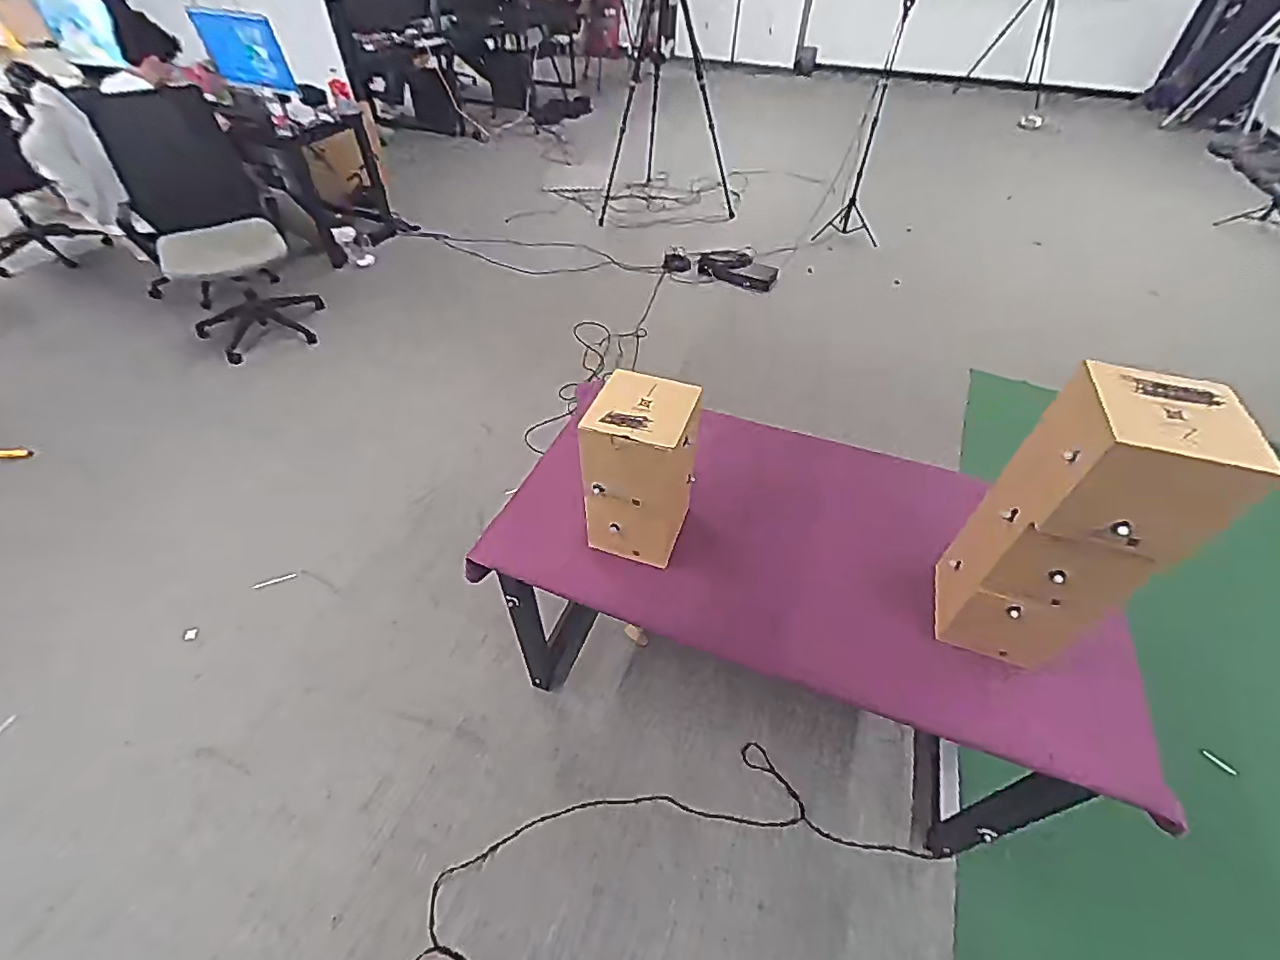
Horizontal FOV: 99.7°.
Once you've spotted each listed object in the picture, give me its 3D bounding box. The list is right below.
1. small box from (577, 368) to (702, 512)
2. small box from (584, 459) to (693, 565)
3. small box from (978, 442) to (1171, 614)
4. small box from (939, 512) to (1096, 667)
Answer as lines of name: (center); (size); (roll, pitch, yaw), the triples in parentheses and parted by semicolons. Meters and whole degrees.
small box: (0.004, -0.069, 0.961); (0.168, 0.176, 0.179); (15, 47, 13)
small box: (0.002, 0.043, 1.081); (0.168, 0.176, 0.179); (14, 48, 13)
small box: (0.643, 0.076, 0.828); (0.168, 0.176, 0.179); (17, 48, 15)
small box: (0.642, 0.191, 0.946); (0.168, 0.176, 0.179); (15, 47, 15)
